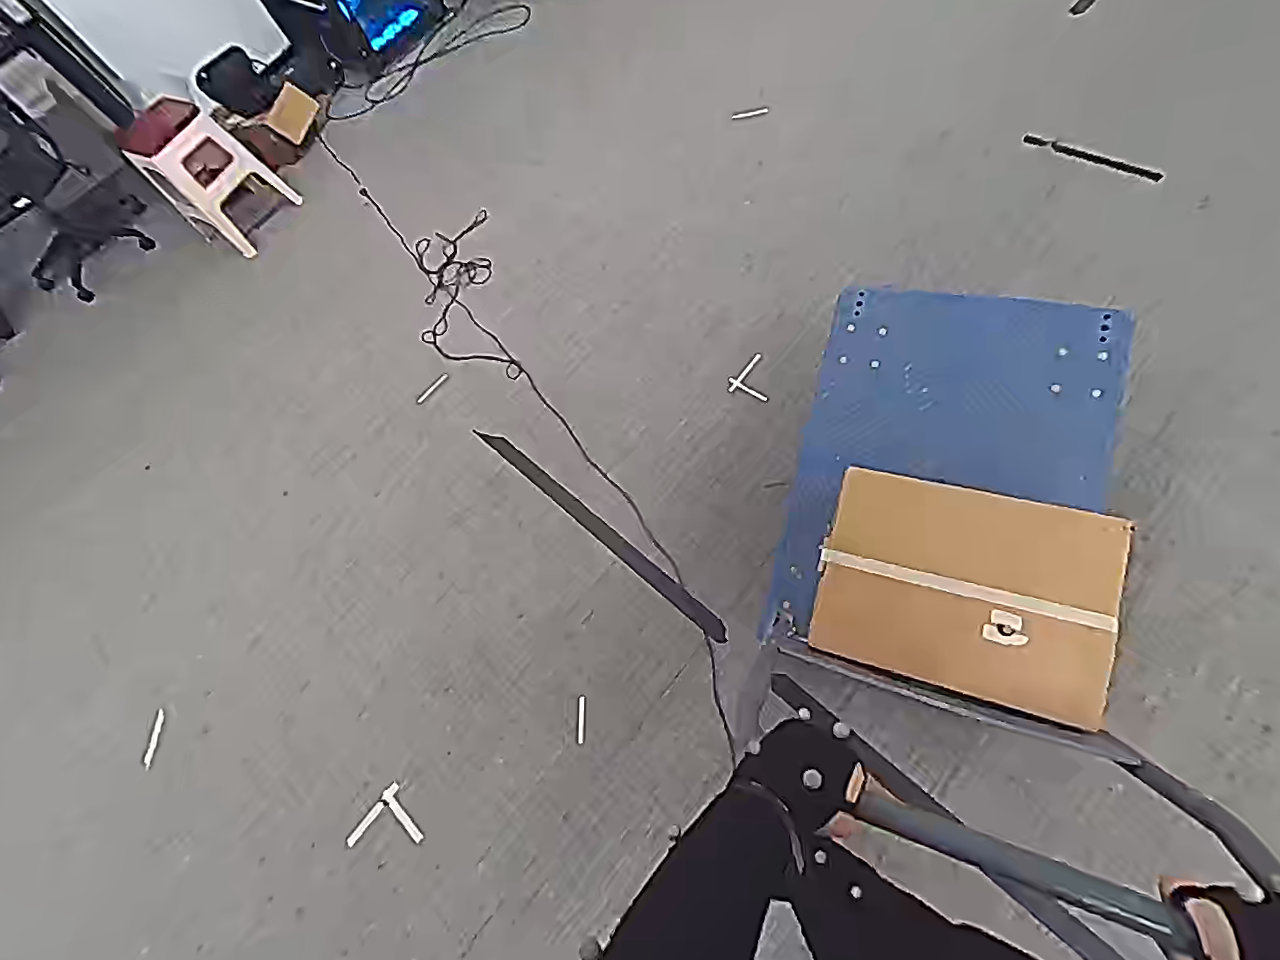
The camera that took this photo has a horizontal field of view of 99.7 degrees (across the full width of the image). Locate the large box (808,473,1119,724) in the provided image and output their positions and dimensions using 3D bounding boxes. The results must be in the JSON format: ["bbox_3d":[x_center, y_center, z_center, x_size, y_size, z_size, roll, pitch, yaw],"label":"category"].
[{"bbox_3d":[0.544,0.197,1.000,0.408,0.320,0.320,13,85,19],"label":"large box"}]
